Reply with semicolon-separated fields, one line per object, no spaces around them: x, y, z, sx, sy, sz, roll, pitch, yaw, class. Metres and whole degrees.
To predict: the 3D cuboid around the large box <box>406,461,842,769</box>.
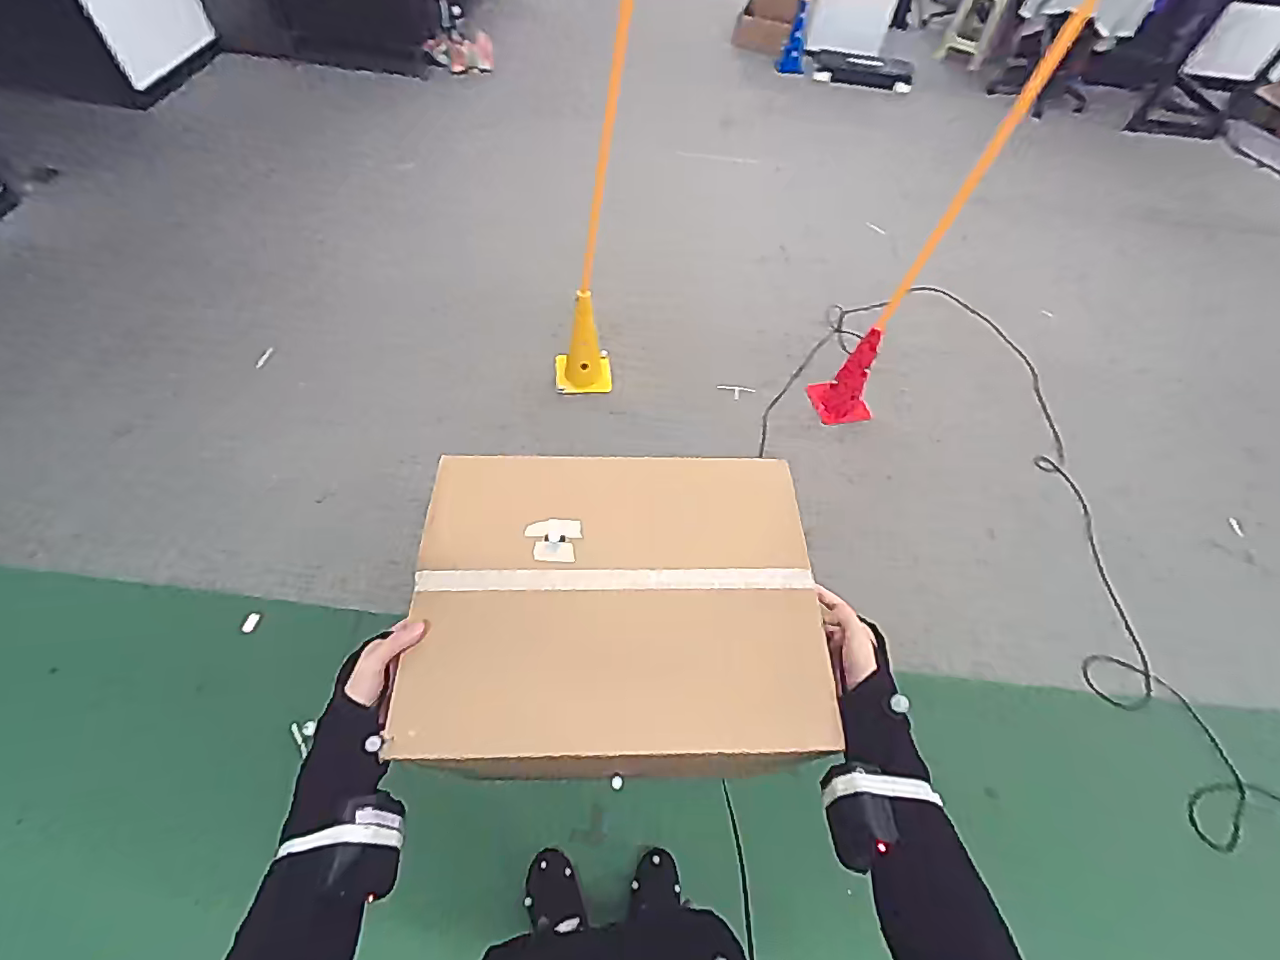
-0.017;0.186;0.691;0.408;0.320;0.320;0;57;-2;large box
